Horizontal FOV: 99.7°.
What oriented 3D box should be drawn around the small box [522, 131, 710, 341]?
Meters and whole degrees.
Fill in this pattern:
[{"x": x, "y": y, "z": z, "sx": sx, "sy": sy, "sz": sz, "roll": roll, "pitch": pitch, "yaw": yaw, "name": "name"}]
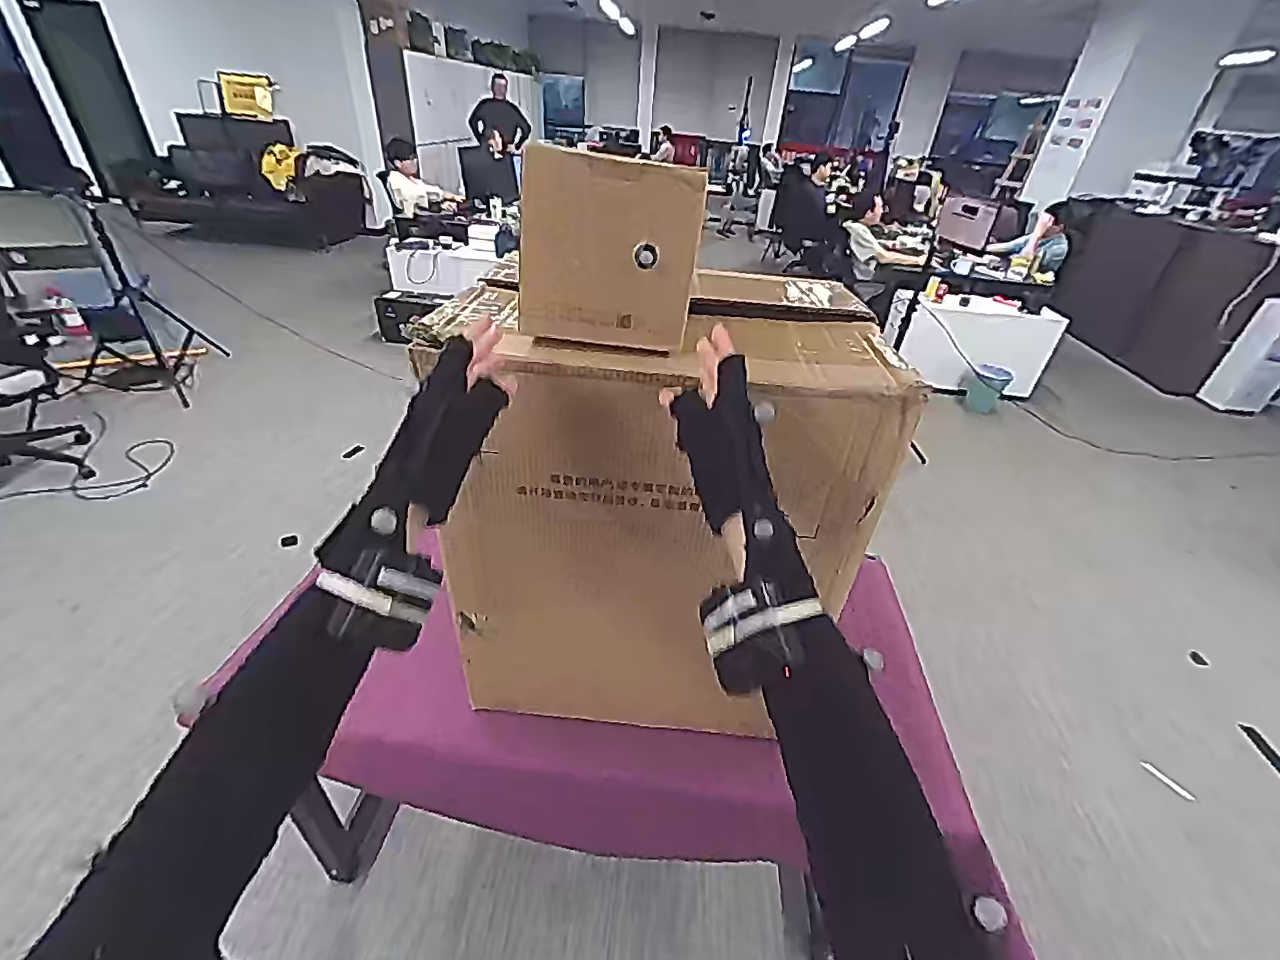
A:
[{"x": -0.028, "y": -0.257, "z": 0.576, "sx": 0.168, "sy": 0.176, "sz": 0.179, "roll": 8, "pitch": 29, "yaw": -4, "name": "small box"}]
